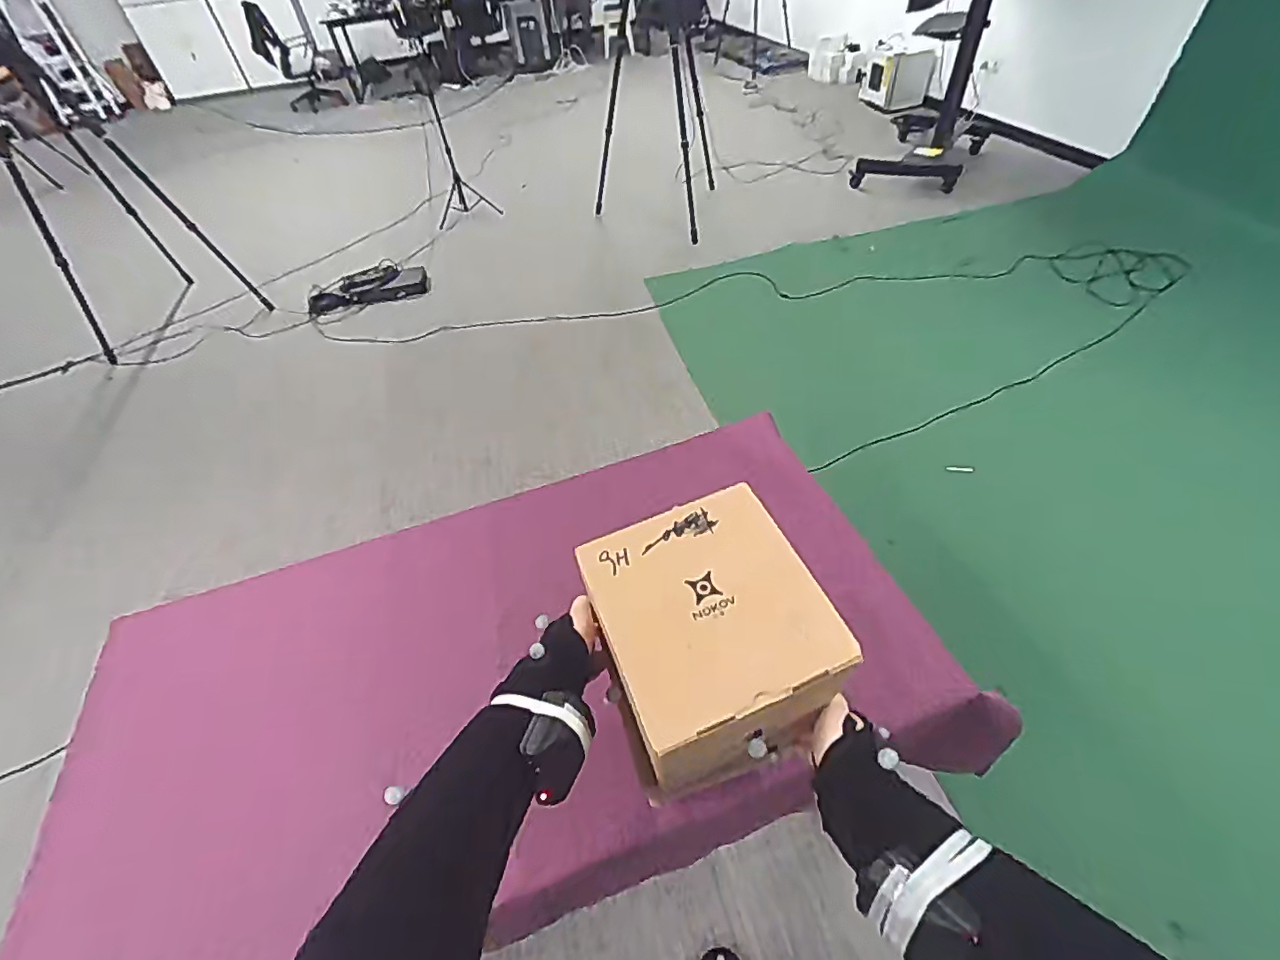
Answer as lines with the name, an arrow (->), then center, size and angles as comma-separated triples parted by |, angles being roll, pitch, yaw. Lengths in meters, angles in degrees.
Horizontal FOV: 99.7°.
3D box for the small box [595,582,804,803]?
small box -> 0.061, 0.247, 0.618 | 0.179, 0.176, 0.168 | -16, 54, -7
